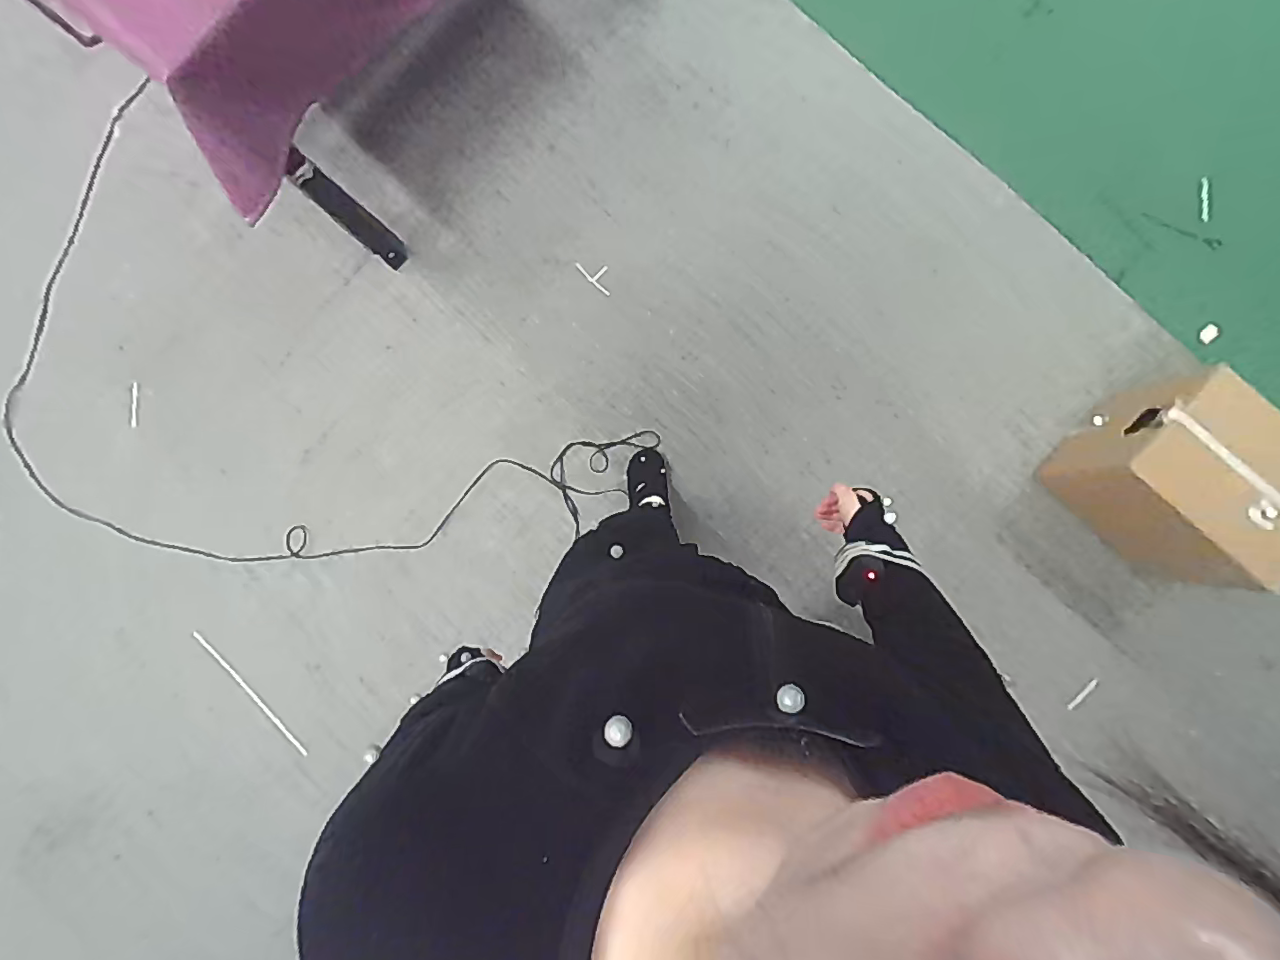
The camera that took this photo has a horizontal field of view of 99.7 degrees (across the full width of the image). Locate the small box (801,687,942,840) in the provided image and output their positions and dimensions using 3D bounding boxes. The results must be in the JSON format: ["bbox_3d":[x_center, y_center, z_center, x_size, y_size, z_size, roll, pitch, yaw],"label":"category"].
[{"bbox_3d":[0.443,0.549,1.074,0.168,0.176,0.179,42,87,4],"label":"small box"}]

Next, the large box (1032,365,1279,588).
[{"bbox_3d":[1.299,-0.003,1.313,0.408,0.320,0.320,44,89,3],"label":"large box"}]
